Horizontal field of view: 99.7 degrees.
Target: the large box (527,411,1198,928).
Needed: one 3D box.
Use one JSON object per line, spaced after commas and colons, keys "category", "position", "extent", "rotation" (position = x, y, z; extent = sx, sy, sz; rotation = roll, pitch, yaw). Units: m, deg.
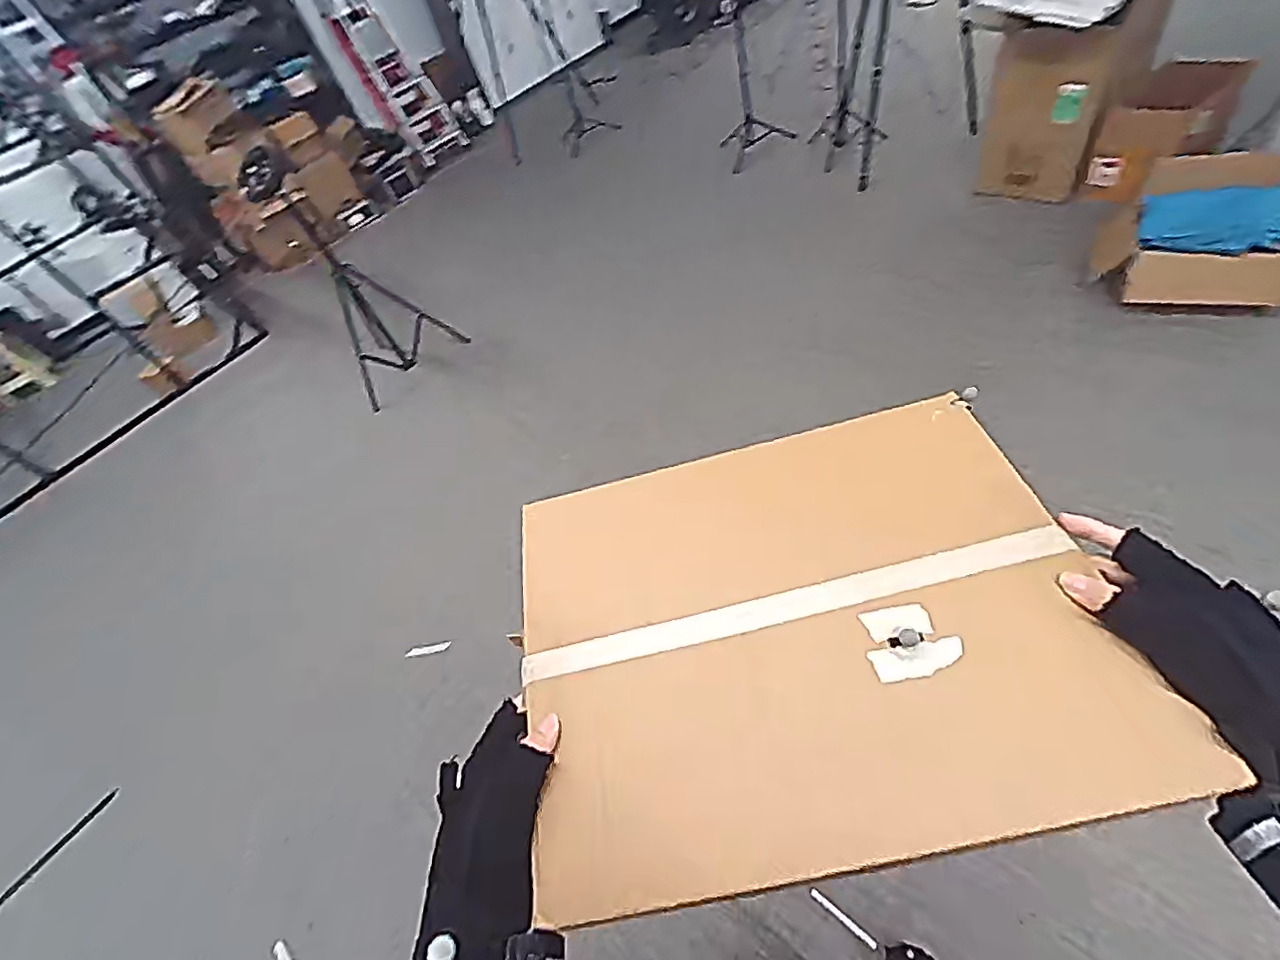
{"category": "large box", "position": [0.138, 0.192, 0.529], "extent": [0.408, 0.320, 0.320], "rotation": [-15, 52, 3]}
